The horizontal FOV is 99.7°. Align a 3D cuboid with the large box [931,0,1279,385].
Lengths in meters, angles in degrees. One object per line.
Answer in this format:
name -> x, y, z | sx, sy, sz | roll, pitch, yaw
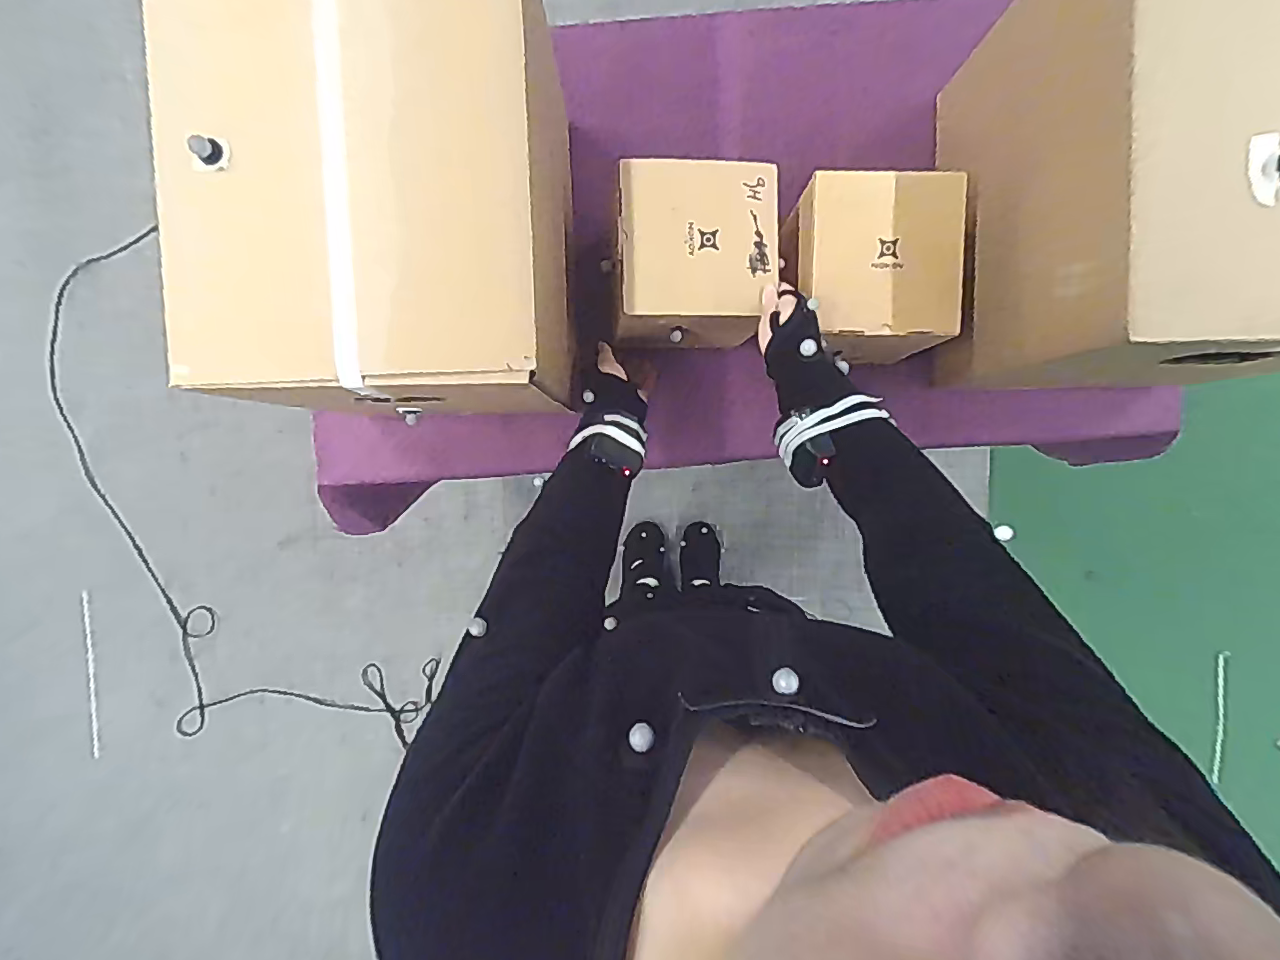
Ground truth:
large box -> 0.555, -0.325, 0.602 | 0.320, 0.320, 0.408 | -1, 93, 0
